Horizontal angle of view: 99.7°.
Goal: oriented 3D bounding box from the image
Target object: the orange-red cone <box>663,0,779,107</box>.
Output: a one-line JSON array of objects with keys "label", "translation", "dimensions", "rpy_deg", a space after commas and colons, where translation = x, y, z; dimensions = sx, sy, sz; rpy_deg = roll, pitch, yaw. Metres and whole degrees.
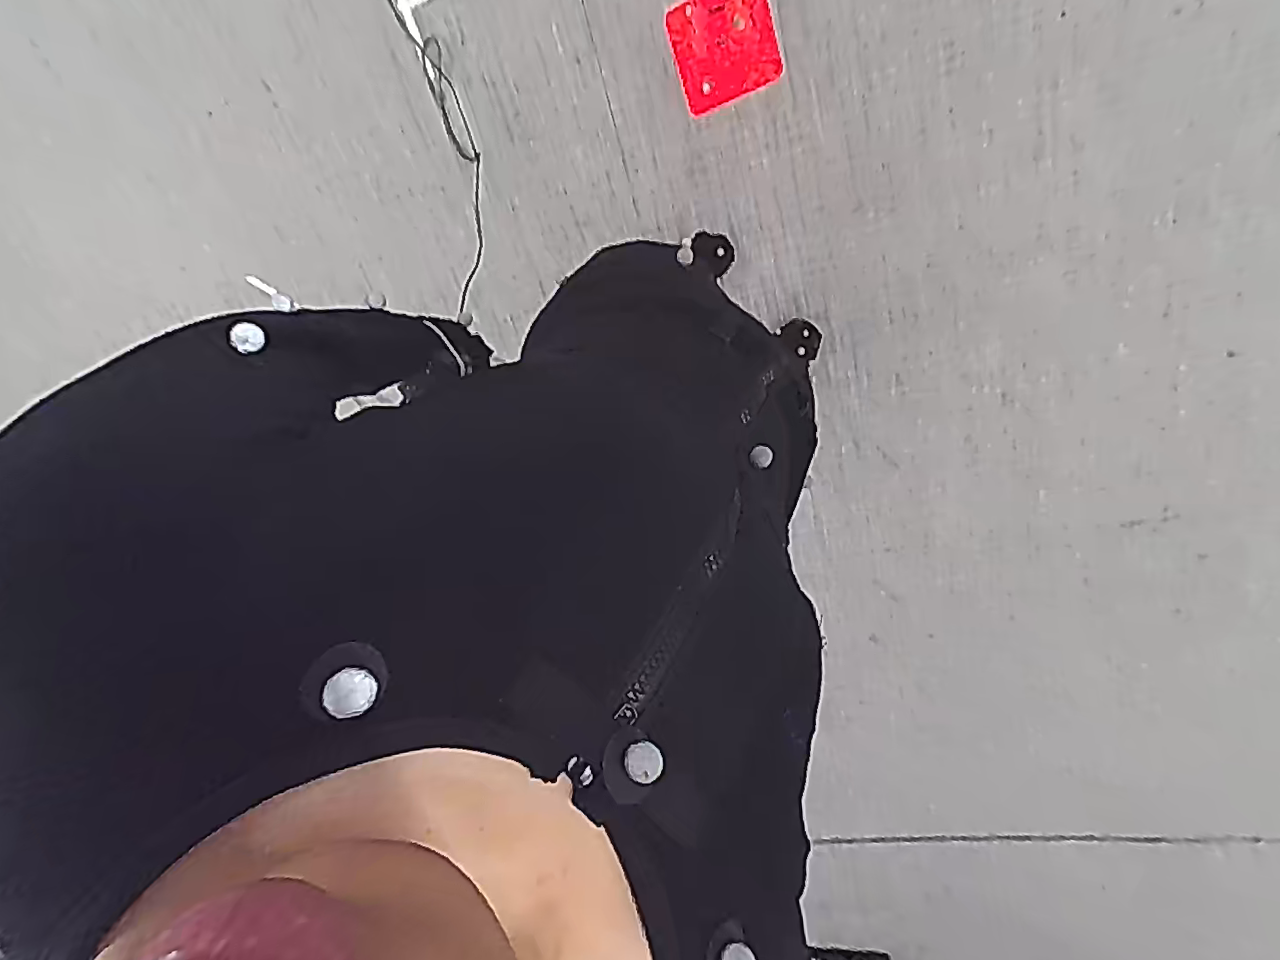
[{"label": "orange-red cone", "translation": [0.128, -0.810, 0.921], "dimensions": [0.199, 0.360, 0.198], "rpy_deg": [-14, 111, 17]}]
